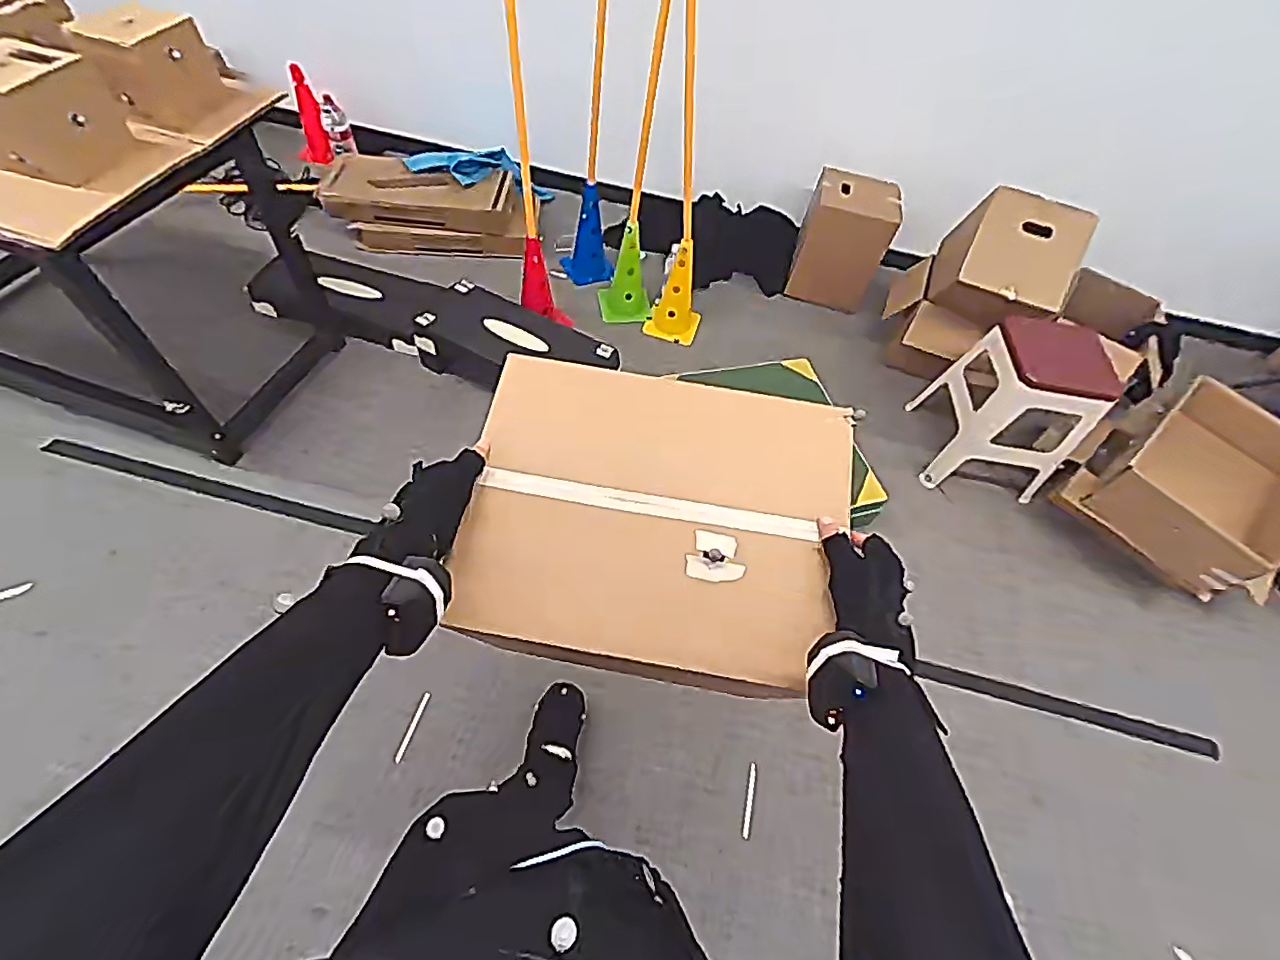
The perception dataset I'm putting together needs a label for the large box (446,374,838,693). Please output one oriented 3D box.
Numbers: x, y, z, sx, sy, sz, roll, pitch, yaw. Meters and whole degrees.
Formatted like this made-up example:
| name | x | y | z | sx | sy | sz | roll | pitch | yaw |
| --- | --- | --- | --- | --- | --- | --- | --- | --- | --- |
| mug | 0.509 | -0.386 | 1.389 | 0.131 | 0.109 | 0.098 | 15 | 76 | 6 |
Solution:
| name | x | y | z | sx | sy | sz | roll | pitch | yaw |
| --- | --- | --- | --- | --- | --- | --- | --- | --- | --- |
| large box | 0.012 | 0.094 | 0.735 | 0.408 | 0.320 | 0.320 | 10 | 69 | 2 |
